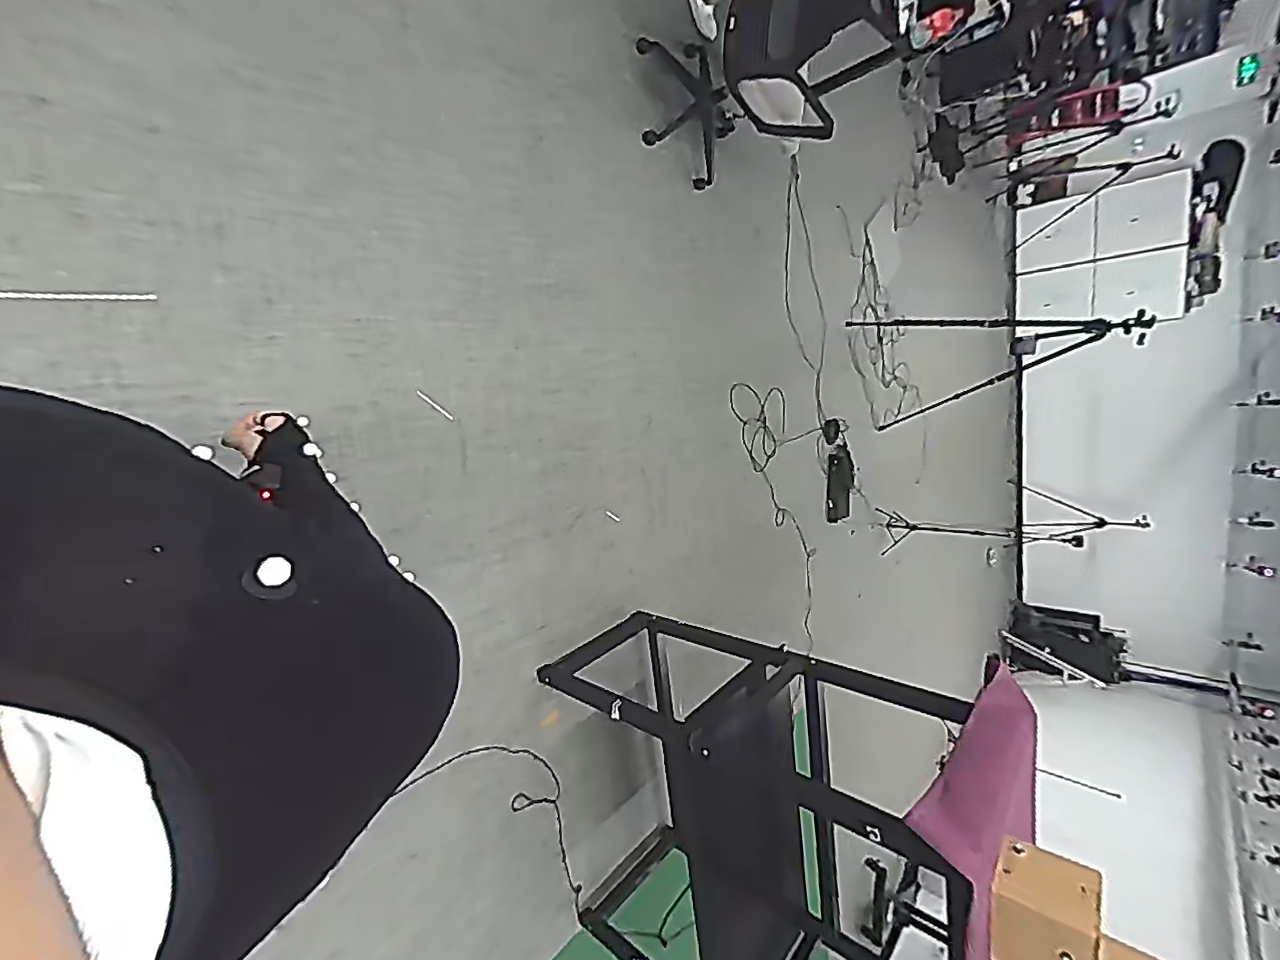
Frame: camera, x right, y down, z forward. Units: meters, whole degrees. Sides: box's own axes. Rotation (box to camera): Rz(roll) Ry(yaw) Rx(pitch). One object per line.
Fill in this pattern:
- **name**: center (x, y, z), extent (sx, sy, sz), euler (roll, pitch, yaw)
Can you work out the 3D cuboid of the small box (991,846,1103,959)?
- **small box**: center (0.819, 0.884, 1.090), extent (0.168, 0.176, 0.179), euler (-17, 105, -46)
